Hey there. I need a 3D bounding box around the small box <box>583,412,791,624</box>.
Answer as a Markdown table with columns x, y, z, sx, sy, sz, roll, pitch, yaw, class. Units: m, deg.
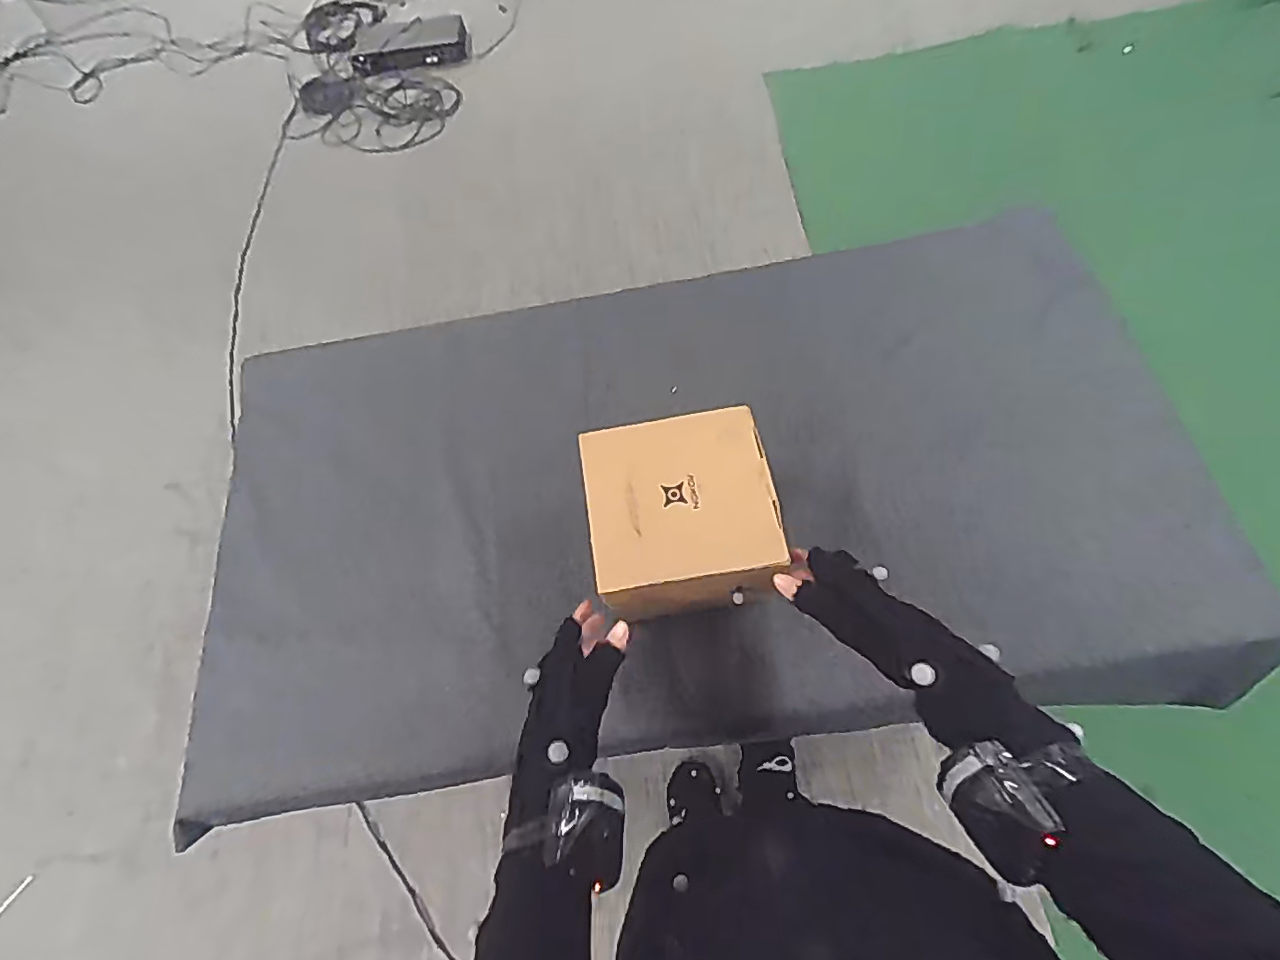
| x | y | z | sx | sy | sz | roll | pitch | yaw | class |
| --- | --- | --- | --- | --- | --- | --- | --- | --- | --- |
| 0.047 | 0.051 | 0.591 | 0.179 | 0.176 | 0.168 | -12 | 65 | 2 | small box |
